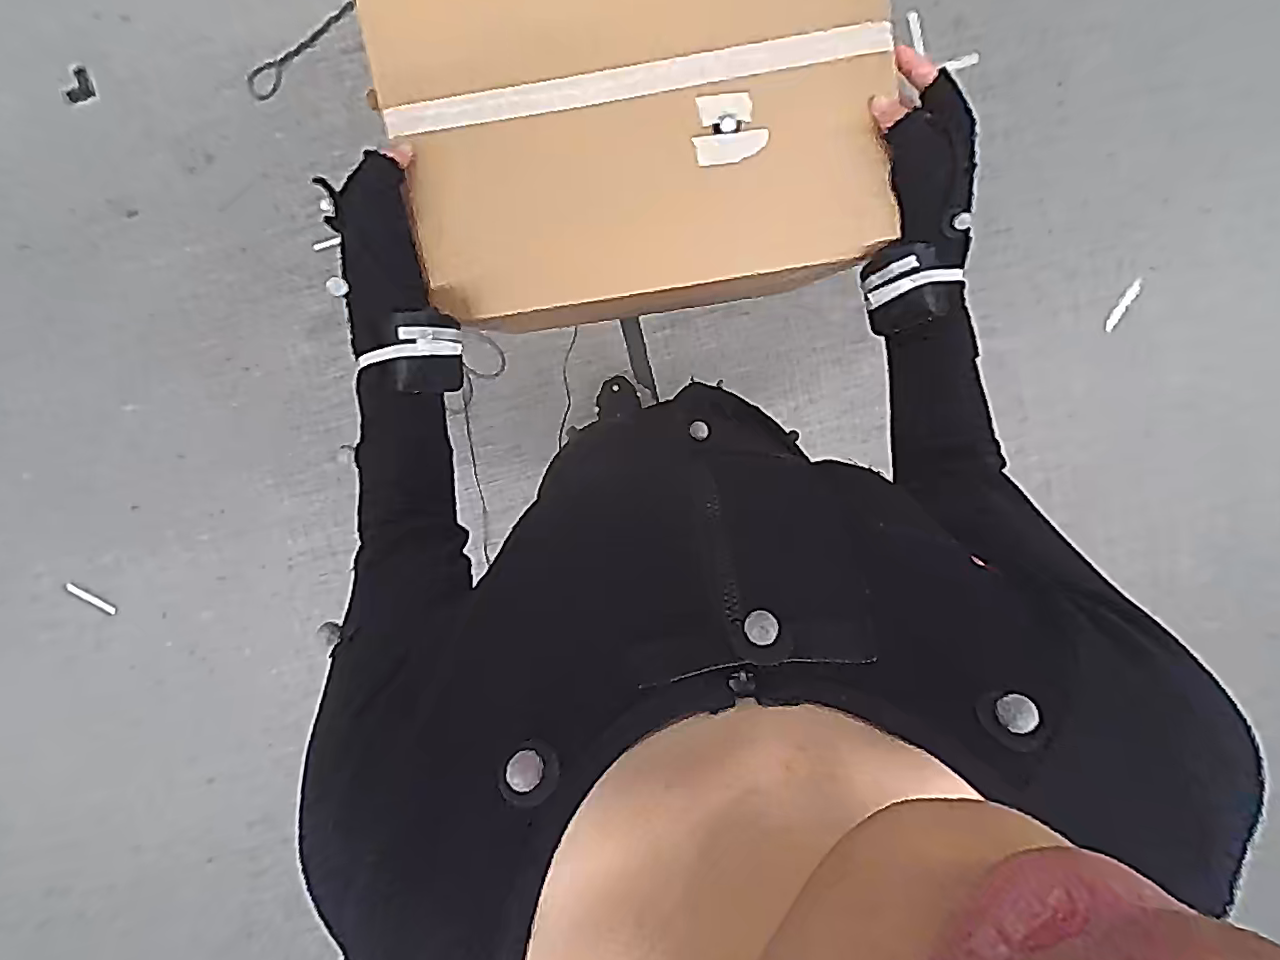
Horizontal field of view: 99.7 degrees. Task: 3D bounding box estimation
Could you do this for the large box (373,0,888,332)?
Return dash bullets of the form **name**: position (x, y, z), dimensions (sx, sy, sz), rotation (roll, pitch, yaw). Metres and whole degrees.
- **large box**: position (-0.006, -0.357, 0.591), dimensions (0.408, 0.320, 0.320), rotation (-9, 104, 1)
